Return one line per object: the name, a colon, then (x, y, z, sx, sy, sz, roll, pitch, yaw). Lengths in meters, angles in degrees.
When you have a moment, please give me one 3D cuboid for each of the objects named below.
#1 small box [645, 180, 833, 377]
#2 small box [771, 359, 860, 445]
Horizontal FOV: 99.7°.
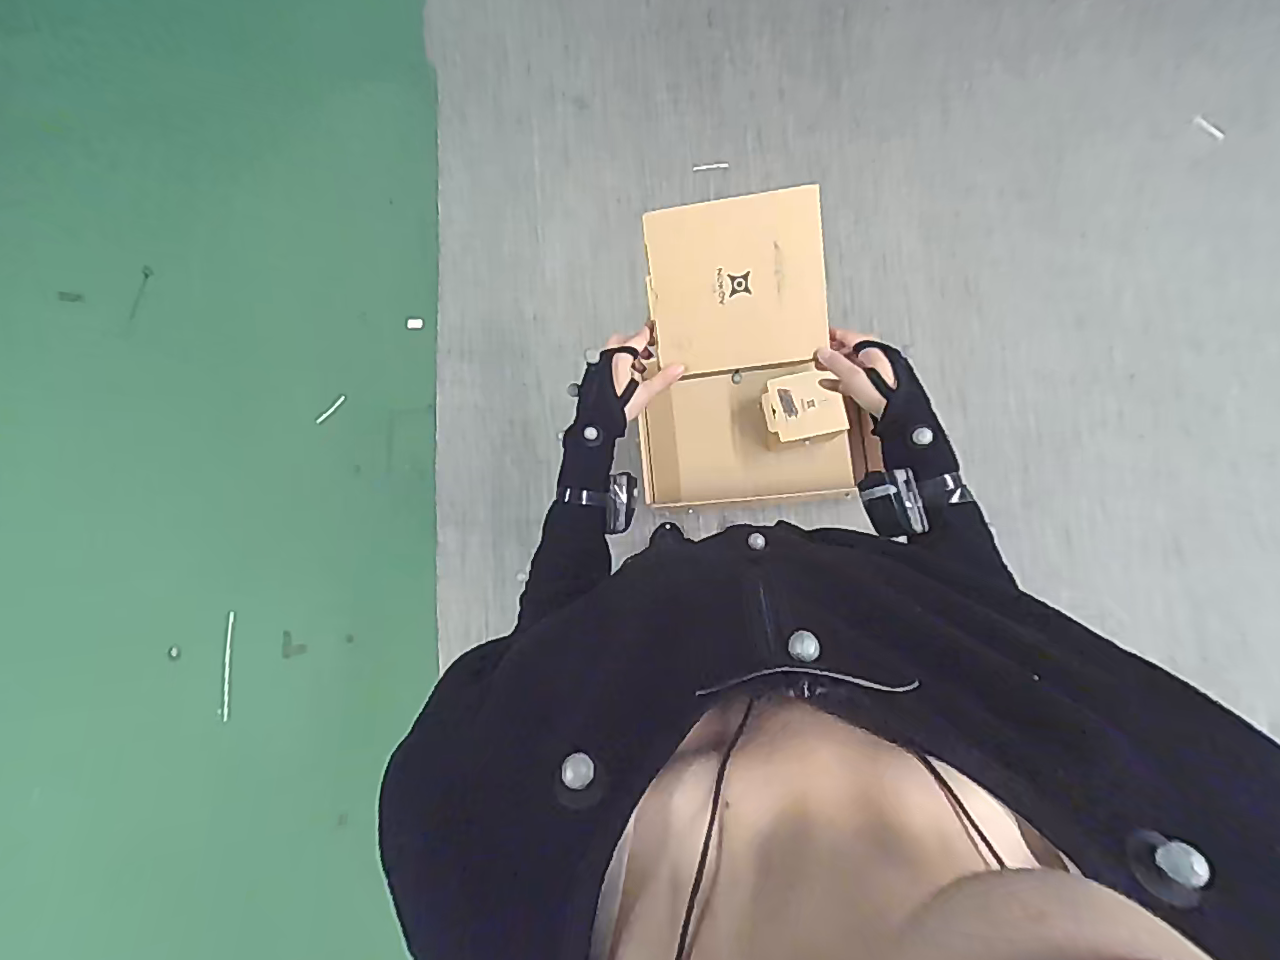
small box: (0.109, -0.212, 0.619, 0.179, 0.176, 0.168, -6, 98, 8)
small box: (0.446, -0.194, 1.409, 0.179, 0.176, 0.168, -12, 83, 5)
